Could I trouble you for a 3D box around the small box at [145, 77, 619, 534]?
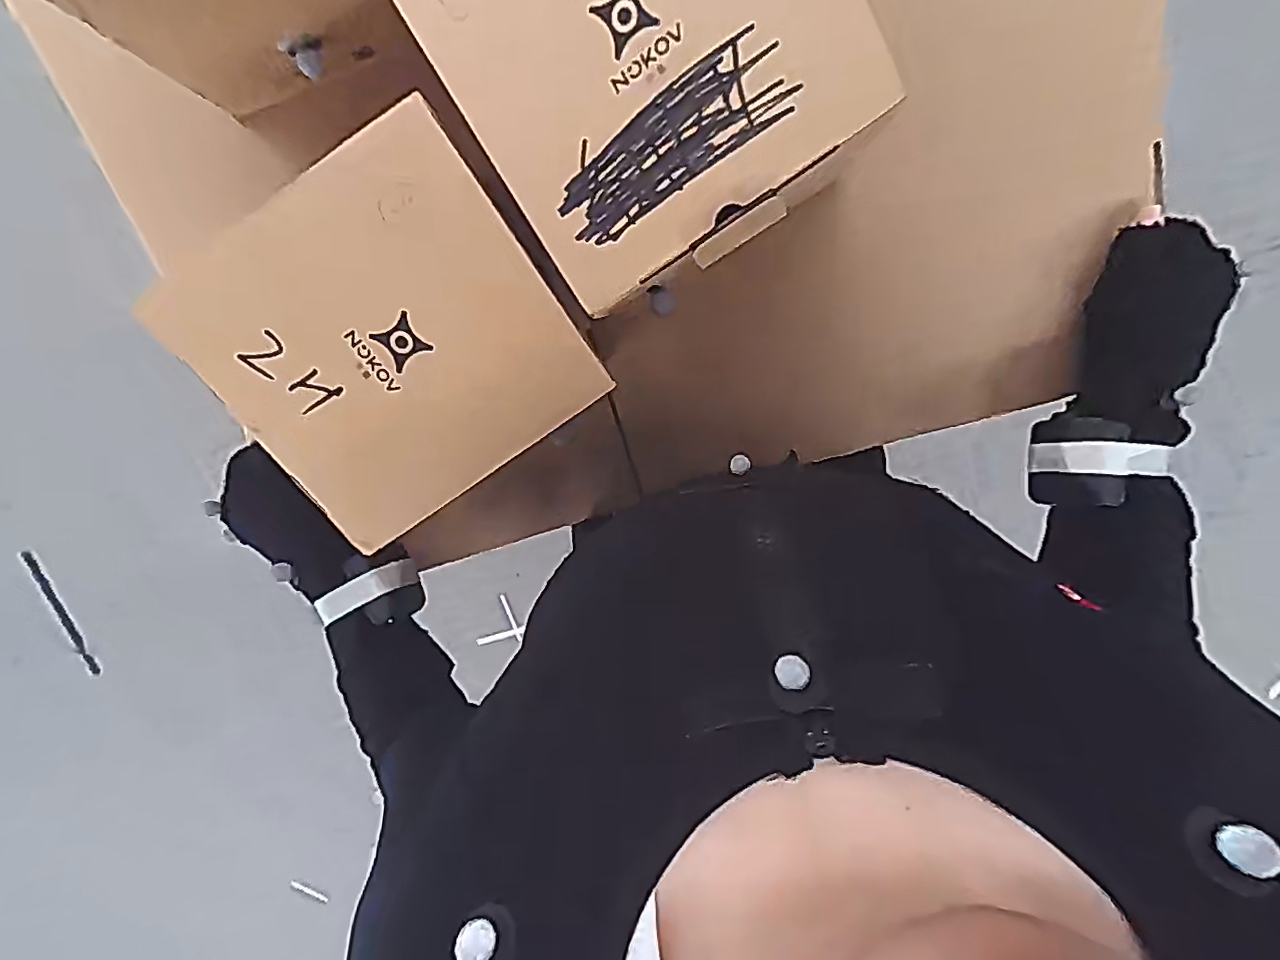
[{"bbox_3d":[-0.134,-0.101,0.353,0.179,0.176,0.168,-33,106,4],"label":"small box"}]
